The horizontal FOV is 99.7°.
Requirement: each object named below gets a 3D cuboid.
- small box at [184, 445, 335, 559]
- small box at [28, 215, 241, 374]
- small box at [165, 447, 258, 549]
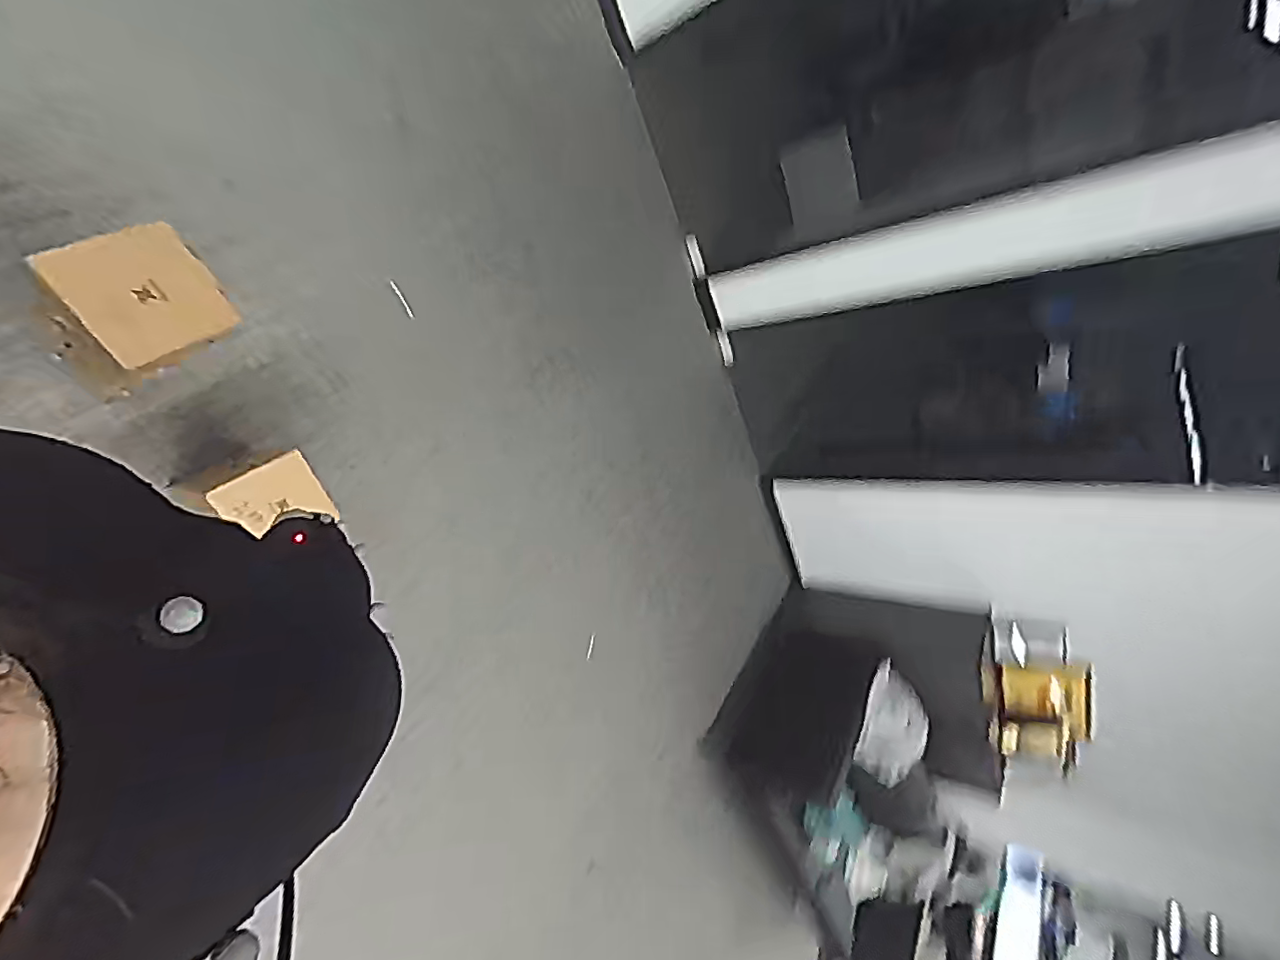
[{"bbox_3d":[-0.777,0.037,1.105,0.179,0.176,0.168,-42,122,-41],"label":"small box"},{"bbox_3d":[-0.778,-0.280,0.835,0.179,0.176,0.168,-48,124,-37],"label":"small box"},{"bbox_3d":[-0.906,0.031,1.208,0.179,0.176,0.168,-39,121,-41],"label":"small box"}]
